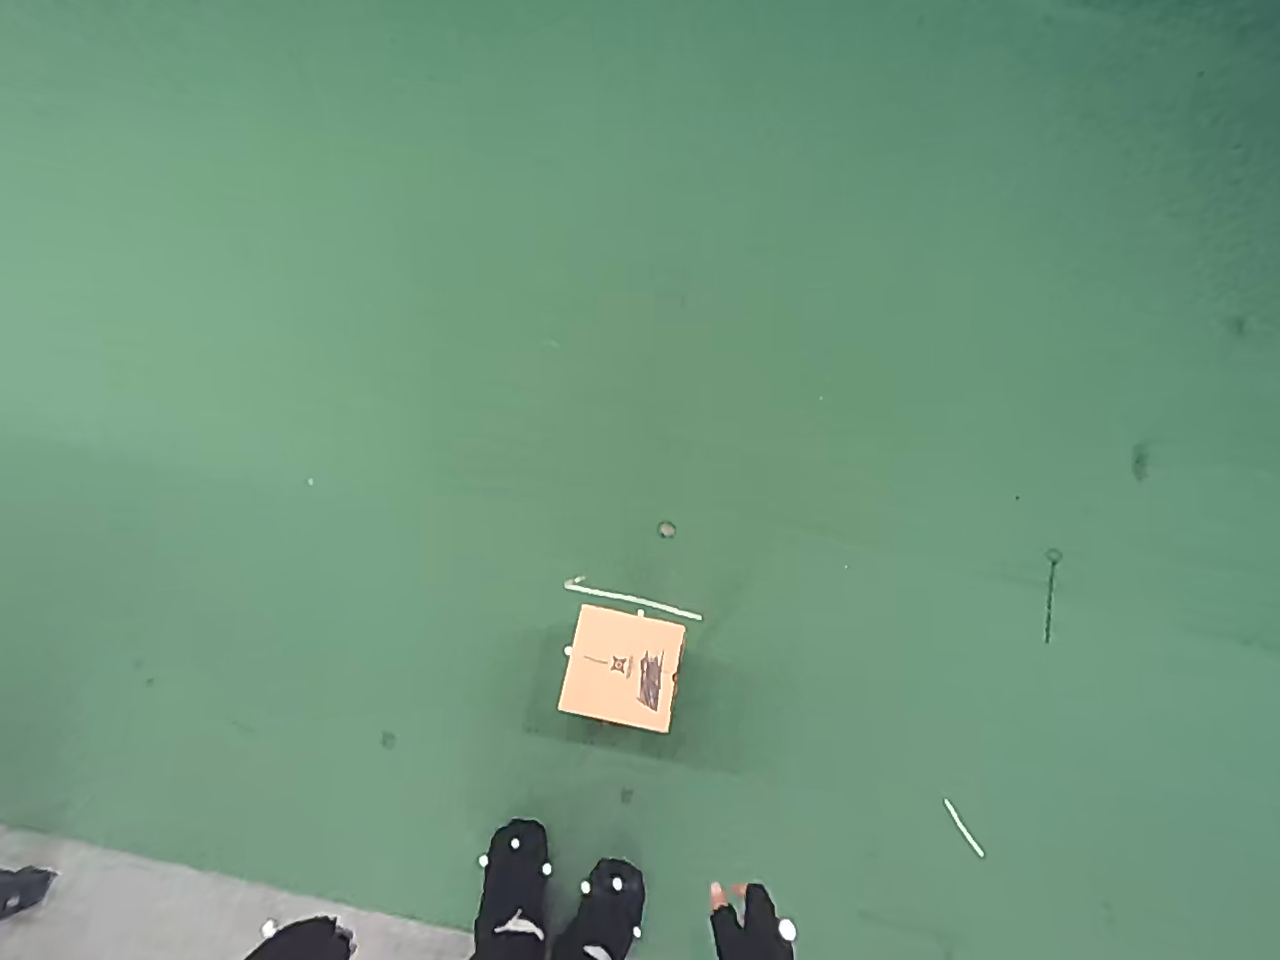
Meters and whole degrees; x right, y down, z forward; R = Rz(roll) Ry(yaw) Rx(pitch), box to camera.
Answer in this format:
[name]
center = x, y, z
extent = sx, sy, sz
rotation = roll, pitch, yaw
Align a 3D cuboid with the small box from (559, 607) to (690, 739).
[small box]
center = -0.028, 0.328, 0.926
extent = 0.179, 0.176, 0.168
rotation = 15, 69, 1
